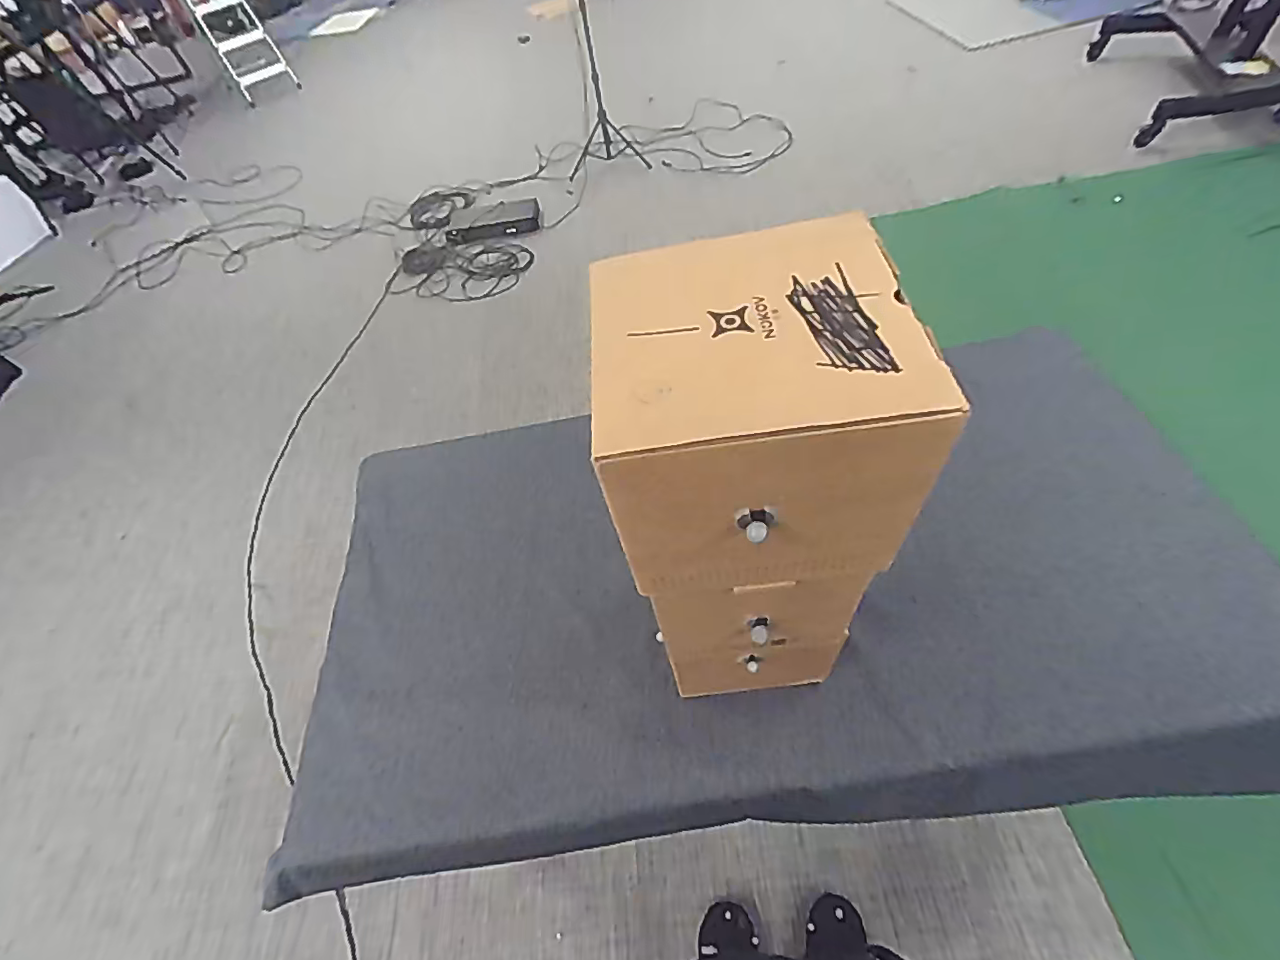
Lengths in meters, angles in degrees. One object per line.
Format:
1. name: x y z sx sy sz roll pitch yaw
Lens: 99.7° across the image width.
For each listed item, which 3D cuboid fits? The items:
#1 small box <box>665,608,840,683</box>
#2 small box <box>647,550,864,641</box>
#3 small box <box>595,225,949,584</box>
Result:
1. small box: 0.119 0.134 0.648 0.179 0.176 0.168 -8 55 3
2. small box: 0.093 0.044 0.514 0.168 0.176 0.179 -8 55 4
3. small box: 0.071 -0.041 0.374 0.179 0.176 0.168 -7 54 6
